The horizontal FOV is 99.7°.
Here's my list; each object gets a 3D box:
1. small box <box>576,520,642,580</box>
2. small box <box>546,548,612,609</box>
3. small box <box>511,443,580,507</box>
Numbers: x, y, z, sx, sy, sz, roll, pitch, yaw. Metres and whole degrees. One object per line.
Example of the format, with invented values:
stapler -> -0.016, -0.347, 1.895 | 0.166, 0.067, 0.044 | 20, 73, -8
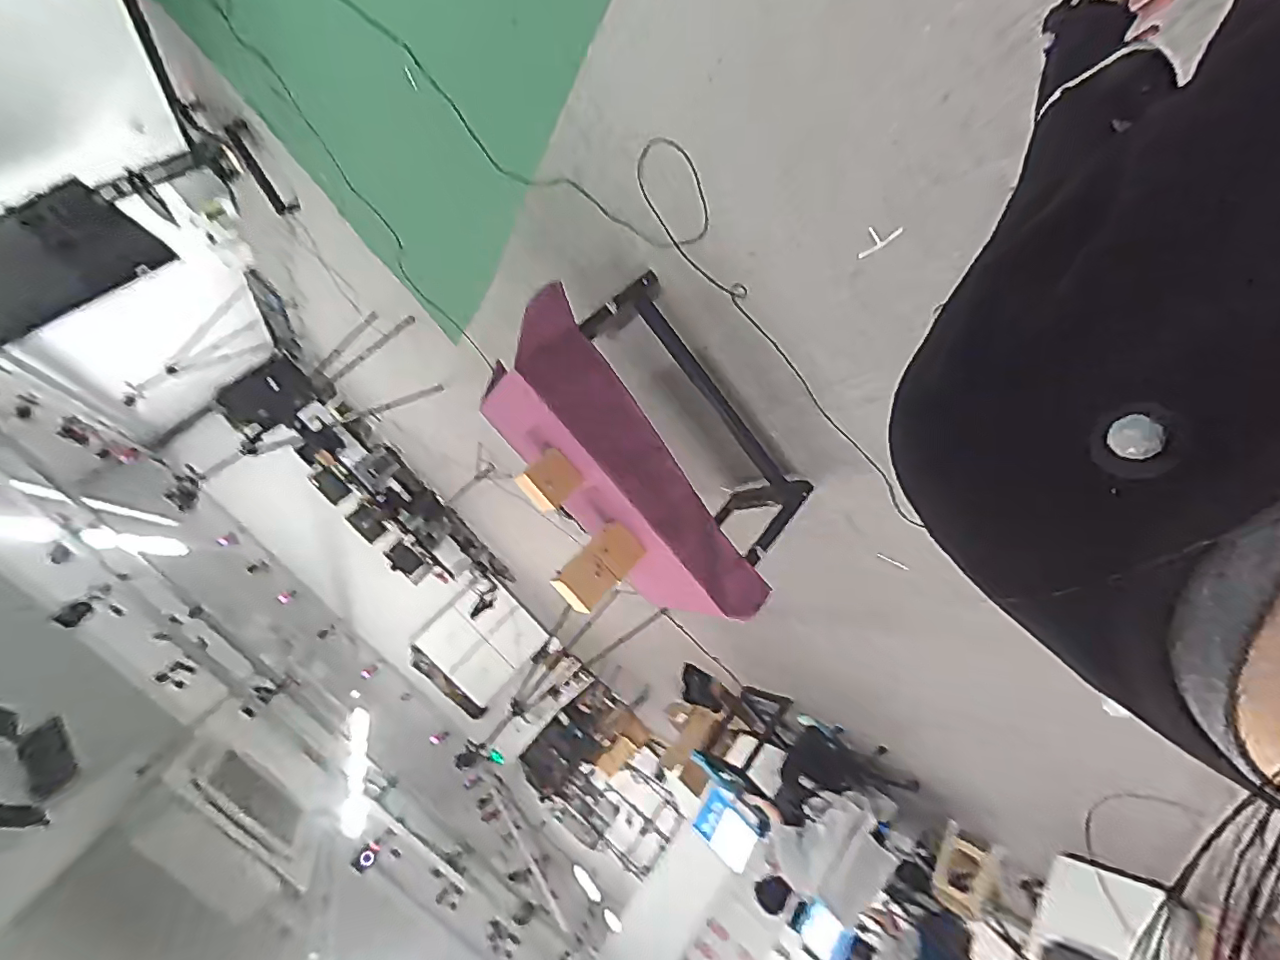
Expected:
small box -> -0.123, 0.282, 2.185 | 0.179, 0.176, 0.168 | 51, 154, -10
small box -> -0.236, 0.382, 2.118 | 0.168, 0.176, 0.179 | 50, 155, -10
small box -> -0.365, -0.017, 2.097 | 0.179, 0.176, 0.168 | 53, 153, -14
